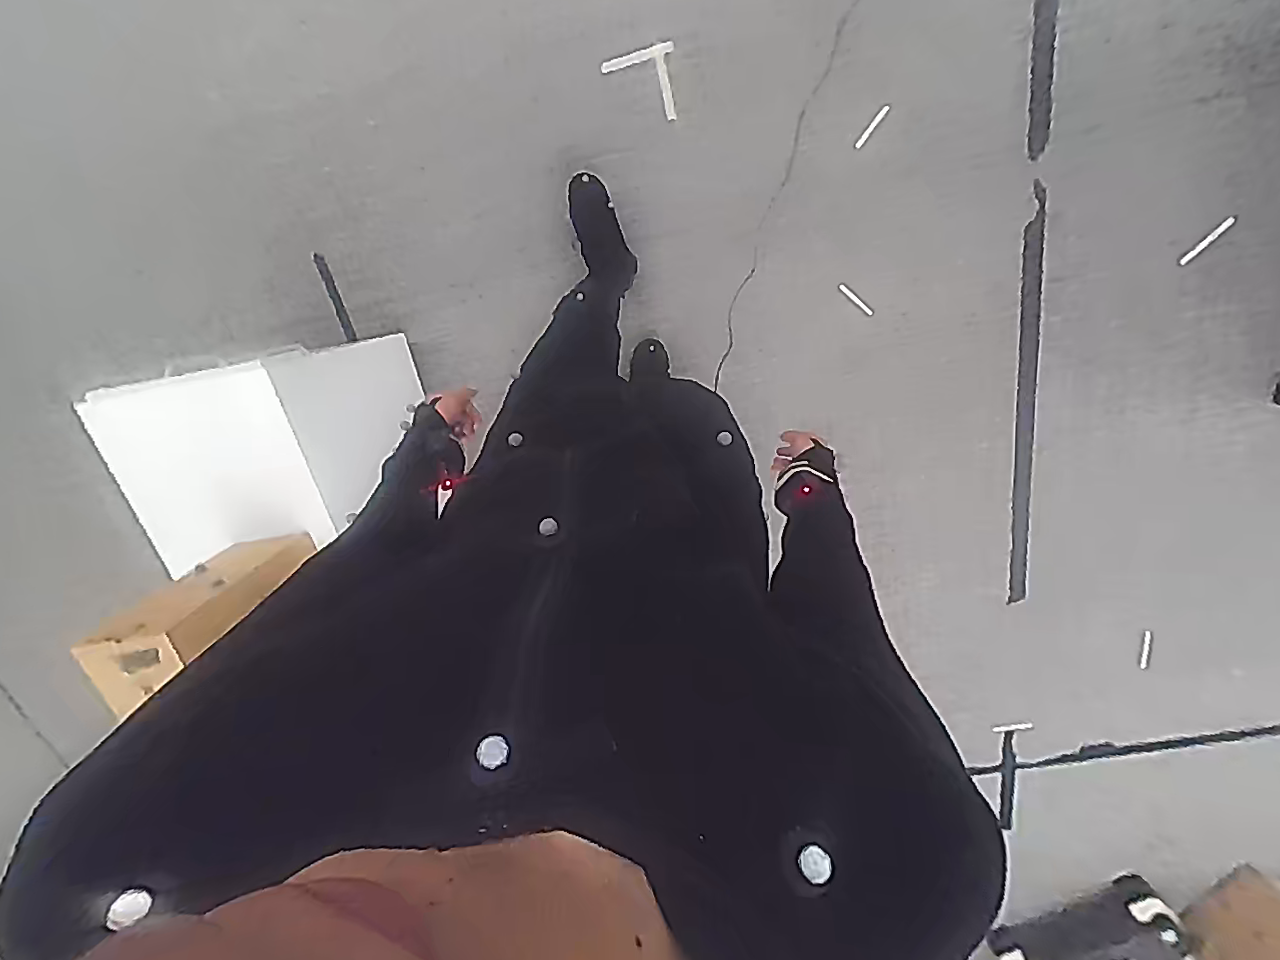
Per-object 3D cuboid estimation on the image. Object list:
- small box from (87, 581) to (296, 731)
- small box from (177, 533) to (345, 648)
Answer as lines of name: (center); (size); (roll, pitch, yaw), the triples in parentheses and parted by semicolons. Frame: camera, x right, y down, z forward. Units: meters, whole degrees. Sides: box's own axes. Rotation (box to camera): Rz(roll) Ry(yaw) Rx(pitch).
small box: (-0.731, 0.284, 0.905); (0.168, 0.176, 0.179); (-9, 112, 8)
small box: (-0.727, 0.222, 1.058); (0.179, 0.176, 0.168); (-10, 111, 8)
